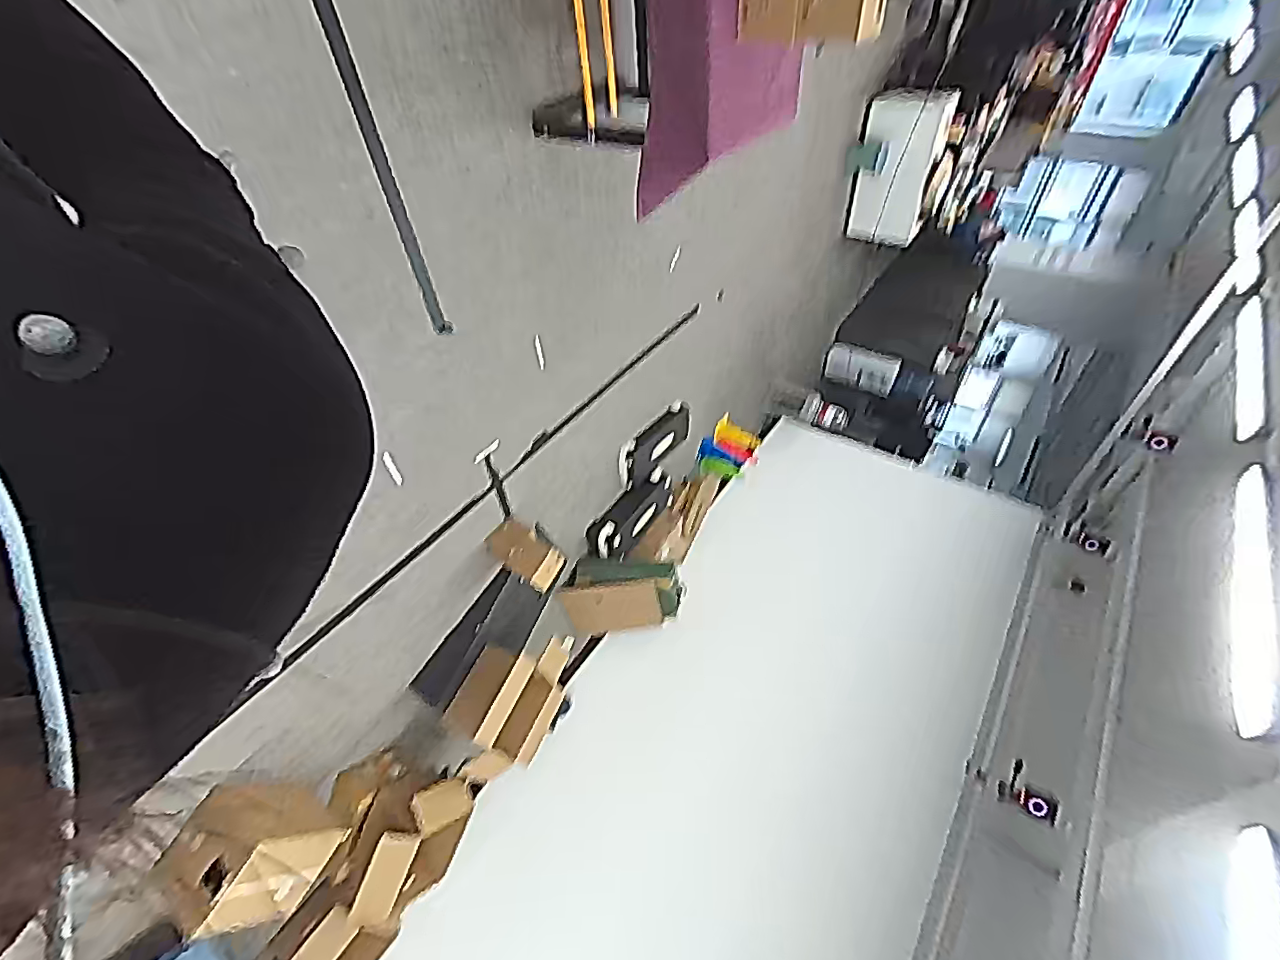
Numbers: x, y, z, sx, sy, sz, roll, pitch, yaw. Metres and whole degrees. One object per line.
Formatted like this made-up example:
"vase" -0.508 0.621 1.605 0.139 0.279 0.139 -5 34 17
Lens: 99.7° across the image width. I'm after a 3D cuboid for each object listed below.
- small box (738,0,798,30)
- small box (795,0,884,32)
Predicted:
"small box" 0.371 -1.297 1.417 0.179 0.176 0.168 -47 149 -32
"small box" 0.510 -1.239 1.350 0.179 0.176 0.168 -46 148 -32
